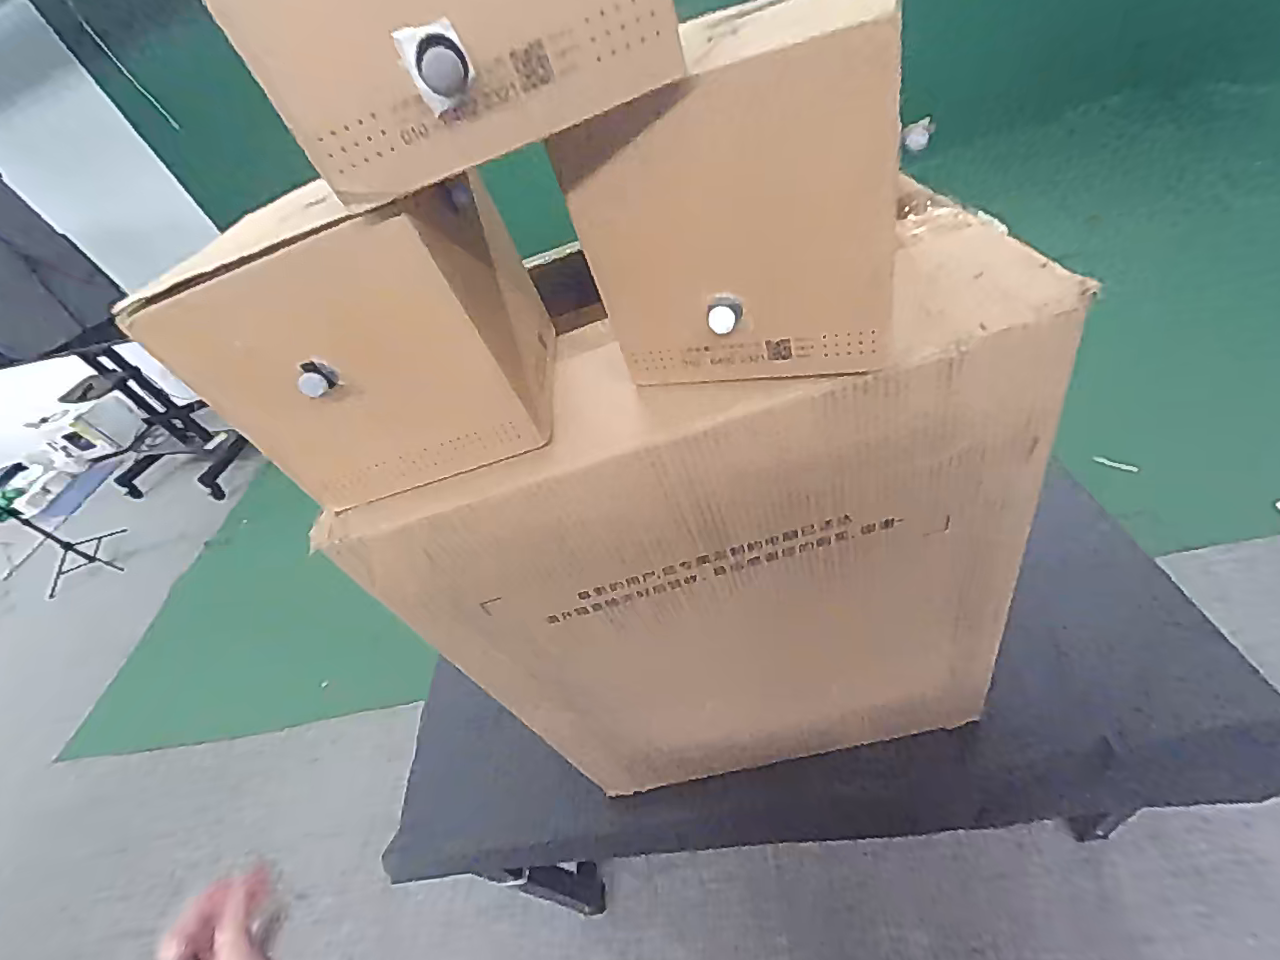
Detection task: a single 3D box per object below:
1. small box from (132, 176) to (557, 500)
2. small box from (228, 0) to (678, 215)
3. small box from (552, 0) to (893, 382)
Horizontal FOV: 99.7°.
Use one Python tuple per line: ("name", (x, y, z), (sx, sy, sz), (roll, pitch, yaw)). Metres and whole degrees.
("small box", (-0.177, -0.109, 0.390), (0.179, 0.176, 0.168), (-17, 44, 10))
("small box", (-0.093, -0.255, 0.254), (0.168, 0.176, 0.179), (-20, 44, 8))
("small box", (0.069, -0.183, 0.349), (0.168, 0.176, 0.179), (1, 49, 25))
